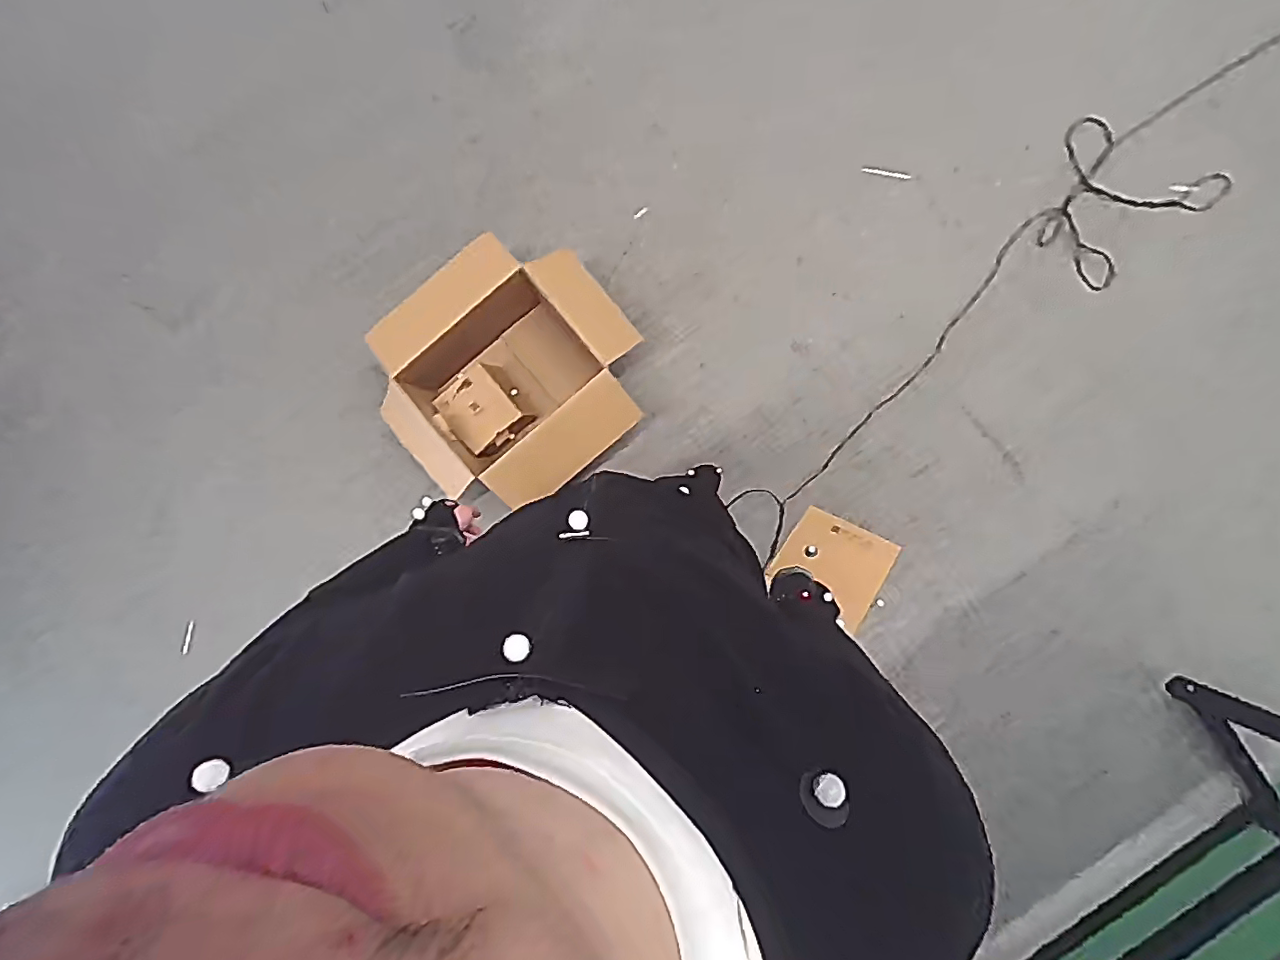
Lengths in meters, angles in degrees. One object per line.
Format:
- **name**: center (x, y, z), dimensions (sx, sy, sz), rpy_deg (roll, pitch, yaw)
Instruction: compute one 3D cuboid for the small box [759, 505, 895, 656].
- **small box**: center (0.330, 0.175, 0.964), dimensions (0.168, 0.179, 0.176), rpy_deg (29, 63, 27)
